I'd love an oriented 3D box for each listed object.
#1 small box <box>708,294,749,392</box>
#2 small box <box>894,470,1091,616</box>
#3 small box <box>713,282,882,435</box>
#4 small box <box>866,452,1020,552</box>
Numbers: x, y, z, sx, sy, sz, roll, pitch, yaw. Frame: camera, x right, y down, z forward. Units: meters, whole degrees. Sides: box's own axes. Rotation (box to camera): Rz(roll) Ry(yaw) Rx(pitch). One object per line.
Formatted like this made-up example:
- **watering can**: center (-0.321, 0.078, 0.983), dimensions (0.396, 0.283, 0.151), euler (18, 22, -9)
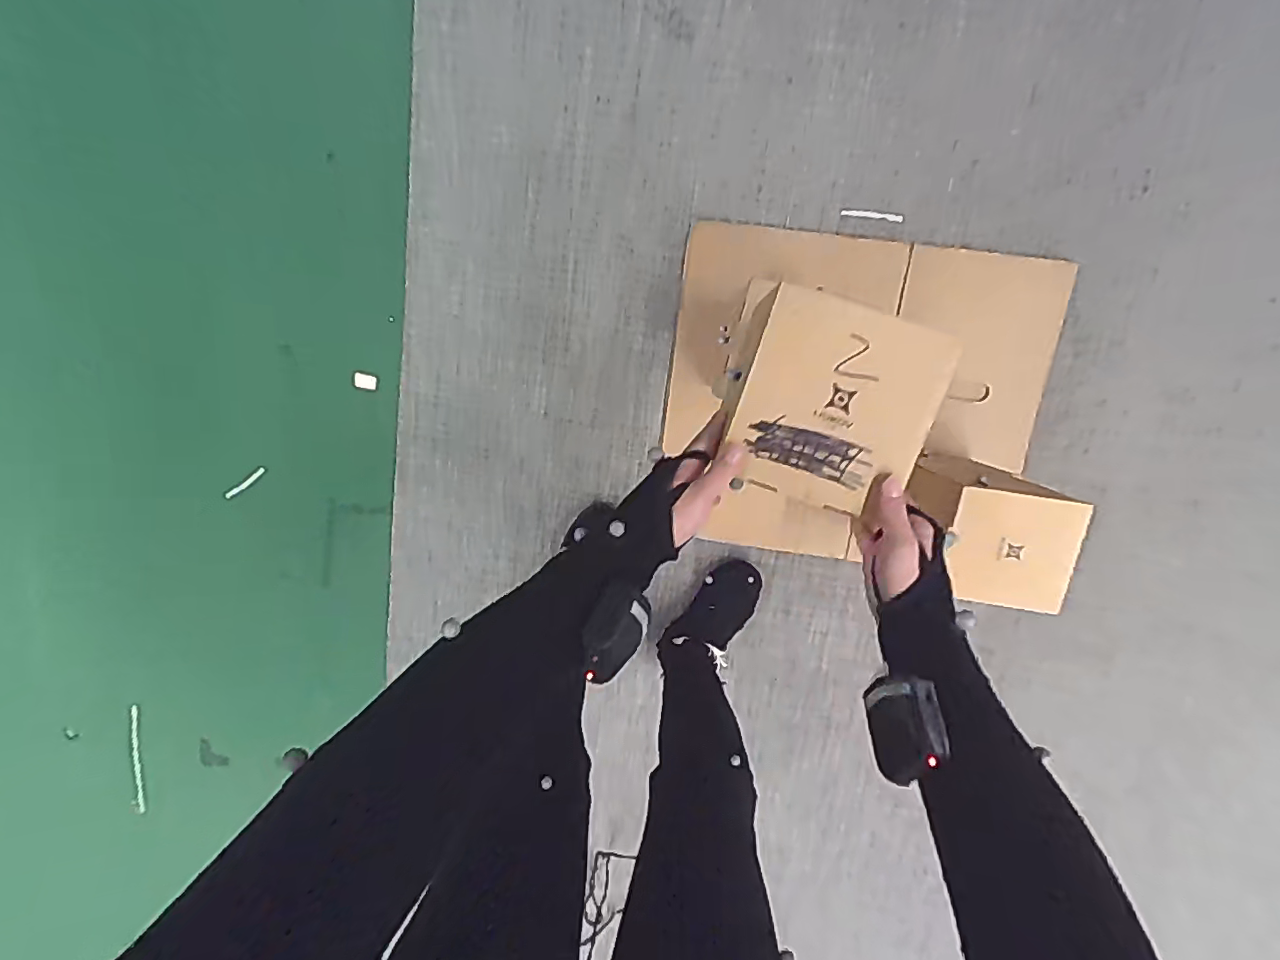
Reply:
- **small box**: center (0.228, -0.215, 0.957), dimensions (0.179, 0.176, 0.168), euler (16, 102, 1)
- **small box**: center (0.520, 0.086, 0.829), dimensions (0.179, 0.176, 0.168), euler (9, 103, 5)
- **small box**: center (0.216, -0.176, 0.796), dimensions (0.179, 0.176, 0.168), euler (16, 101, 2)
- **small box**: center (0.535, 0.048, 0.985), dimensions (0.179, 0.176, 0.168), euler (9, 102, 3)
